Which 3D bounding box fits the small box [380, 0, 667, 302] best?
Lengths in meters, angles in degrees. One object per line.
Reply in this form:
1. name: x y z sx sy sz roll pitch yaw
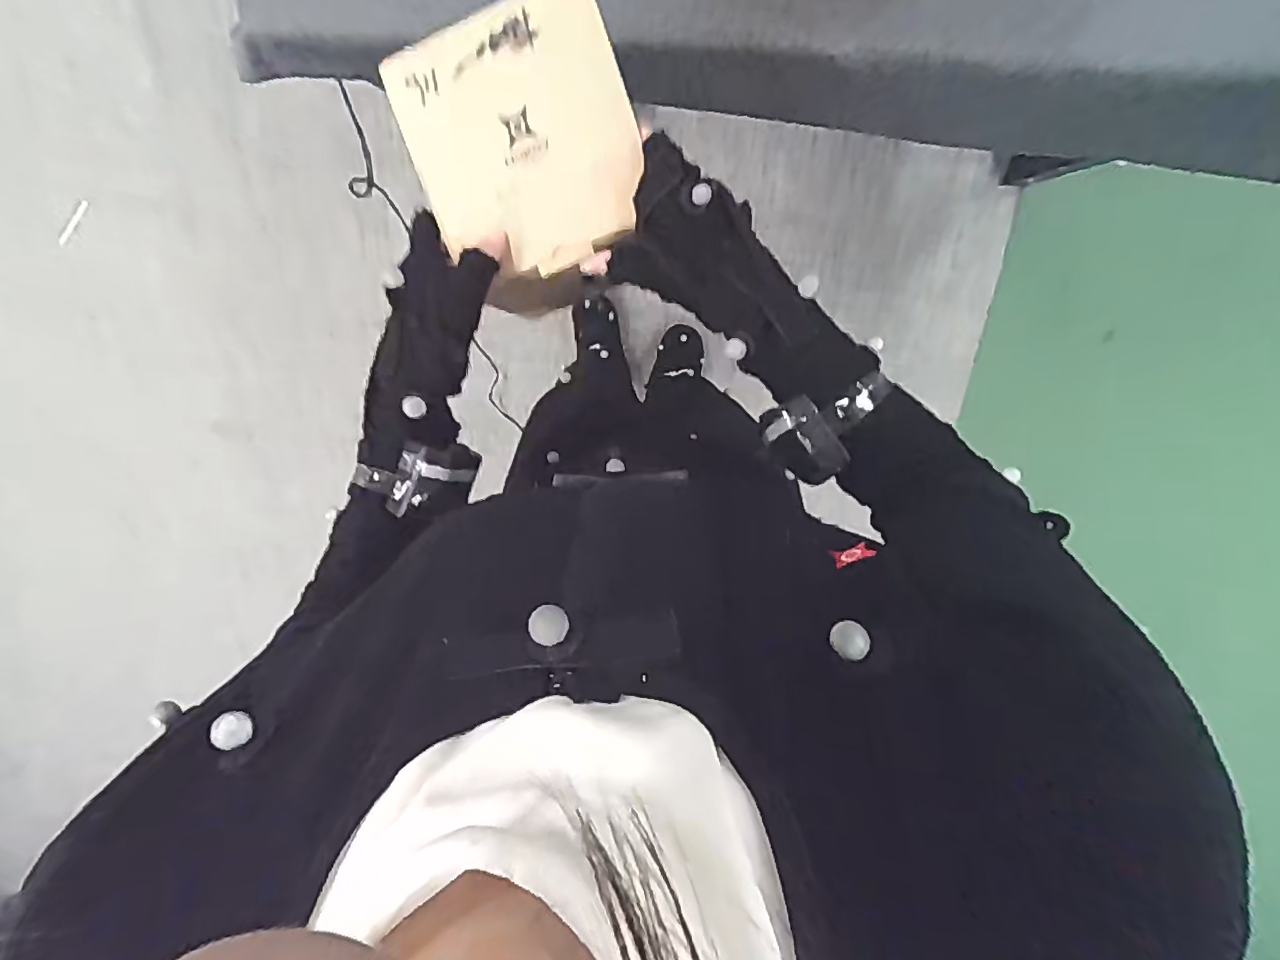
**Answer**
1. small box: -0.078 -0.267 0.471 0.168 0.176 0.179 -18 99 8
